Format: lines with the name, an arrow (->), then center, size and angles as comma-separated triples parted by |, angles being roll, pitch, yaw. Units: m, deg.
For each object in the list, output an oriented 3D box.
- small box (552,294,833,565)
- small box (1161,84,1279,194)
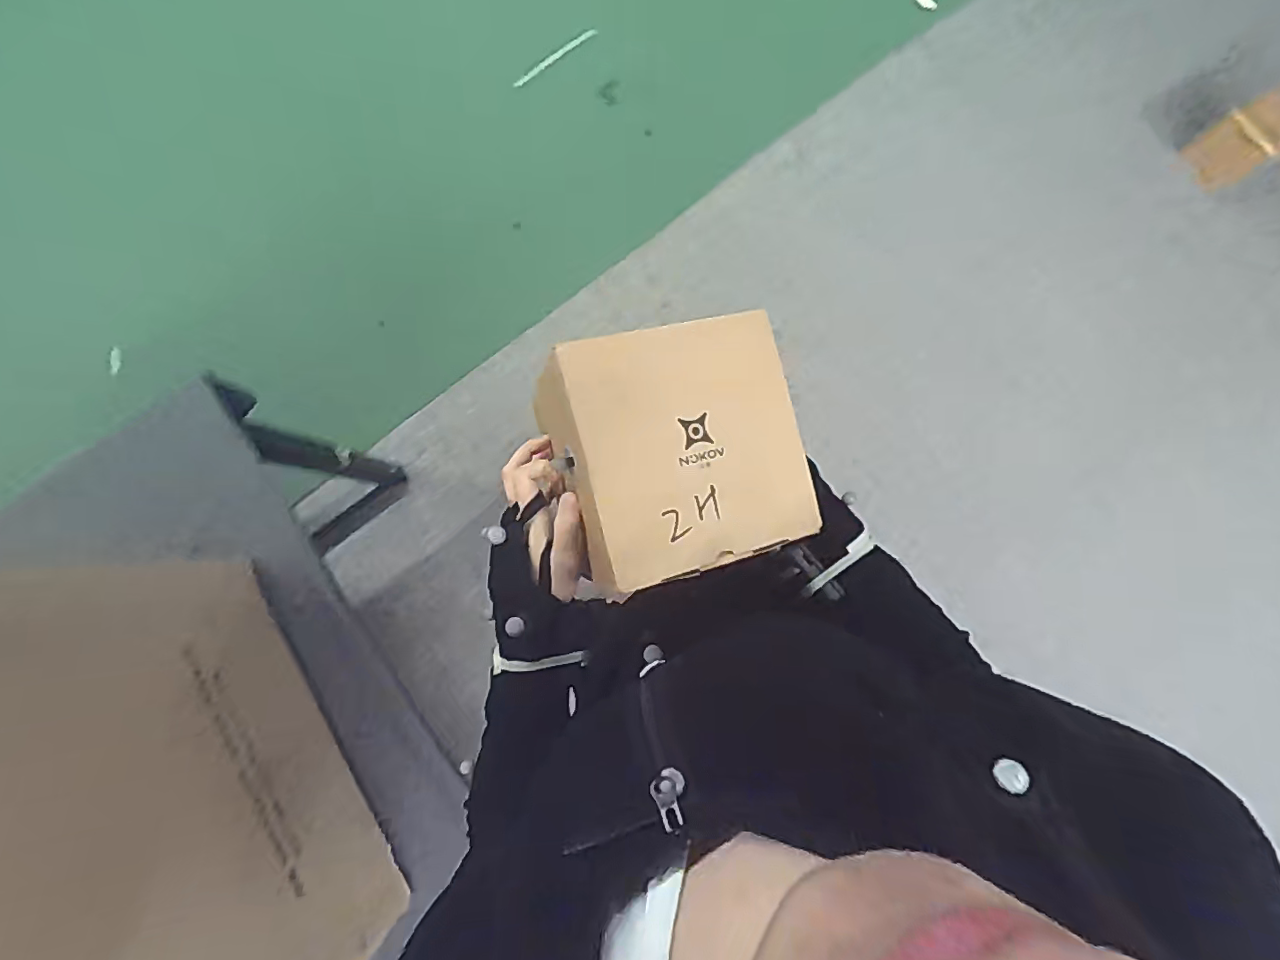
small box -> 0.029, -0.035, 0.464 | 0.168, 0.176, 0.179 | -14, 90, -17
small box -> 1.699, -0.982, 1.570 | 0.179, 0.176, 0.168 | -33, 84, -3
